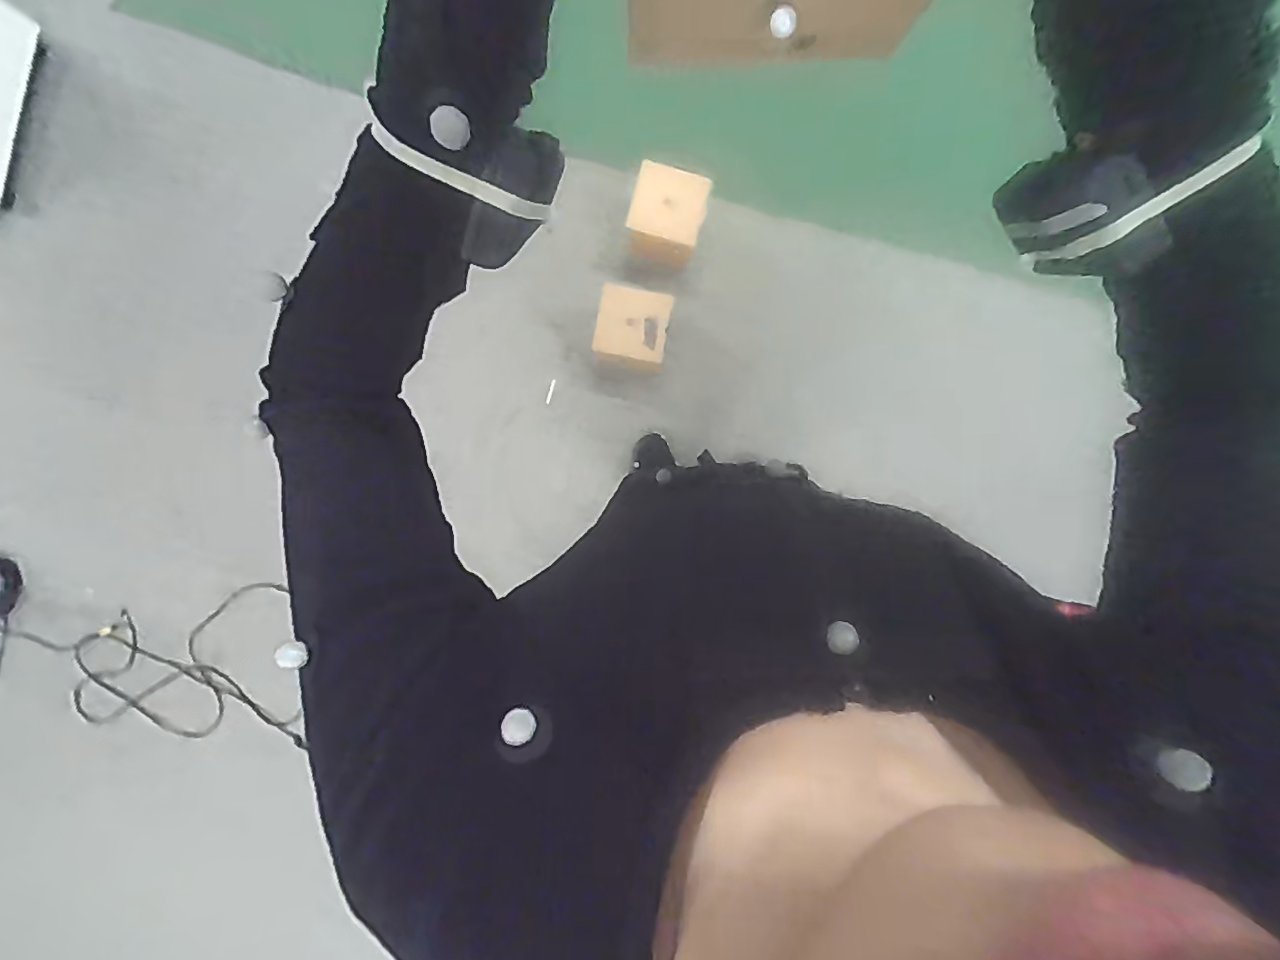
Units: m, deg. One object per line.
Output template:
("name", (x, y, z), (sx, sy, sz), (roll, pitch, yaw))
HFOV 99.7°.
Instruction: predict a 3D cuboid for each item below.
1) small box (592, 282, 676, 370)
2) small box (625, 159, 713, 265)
("small box", (-0.014, -0.382, 1.371), (0.179, 0.176, 0.168), (11, 93, 1))
("small box", (0.070, -0.662, 1.356), (0.179, 0.176, 0.168), (15, 94, -1))
